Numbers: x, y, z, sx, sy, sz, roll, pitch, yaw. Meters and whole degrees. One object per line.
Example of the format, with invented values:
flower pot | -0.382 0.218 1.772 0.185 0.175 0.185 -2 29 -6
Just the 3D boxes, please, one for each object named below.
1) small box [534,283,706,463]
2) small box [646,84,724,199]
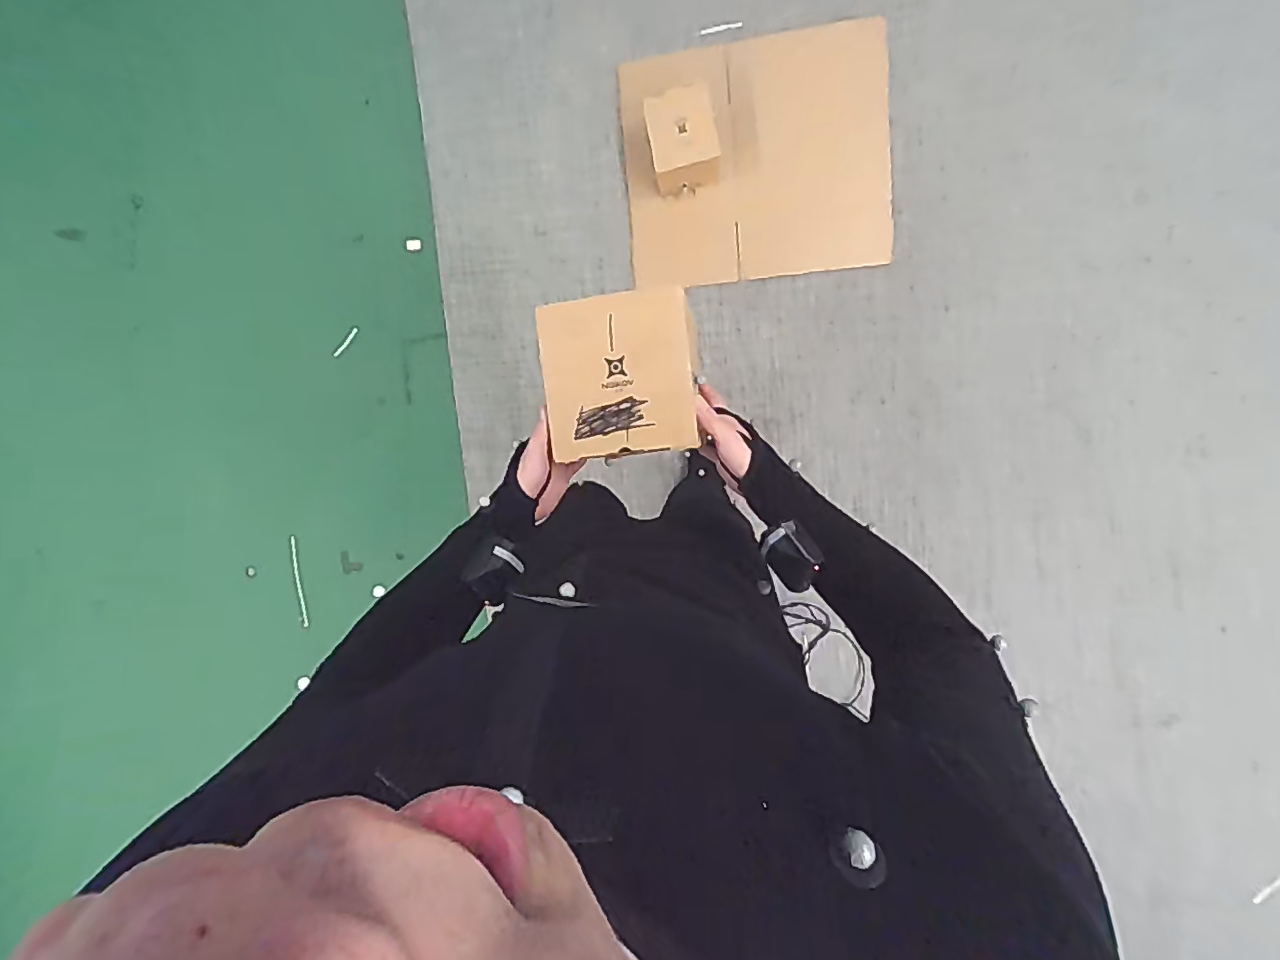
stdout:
small box | -0.013 -0.119 0.659 0.168 0.176 0.179 -6 93 10
small box | 0.118 -0.857 1.386 0.168 0.176 0.179 -10 96 10
